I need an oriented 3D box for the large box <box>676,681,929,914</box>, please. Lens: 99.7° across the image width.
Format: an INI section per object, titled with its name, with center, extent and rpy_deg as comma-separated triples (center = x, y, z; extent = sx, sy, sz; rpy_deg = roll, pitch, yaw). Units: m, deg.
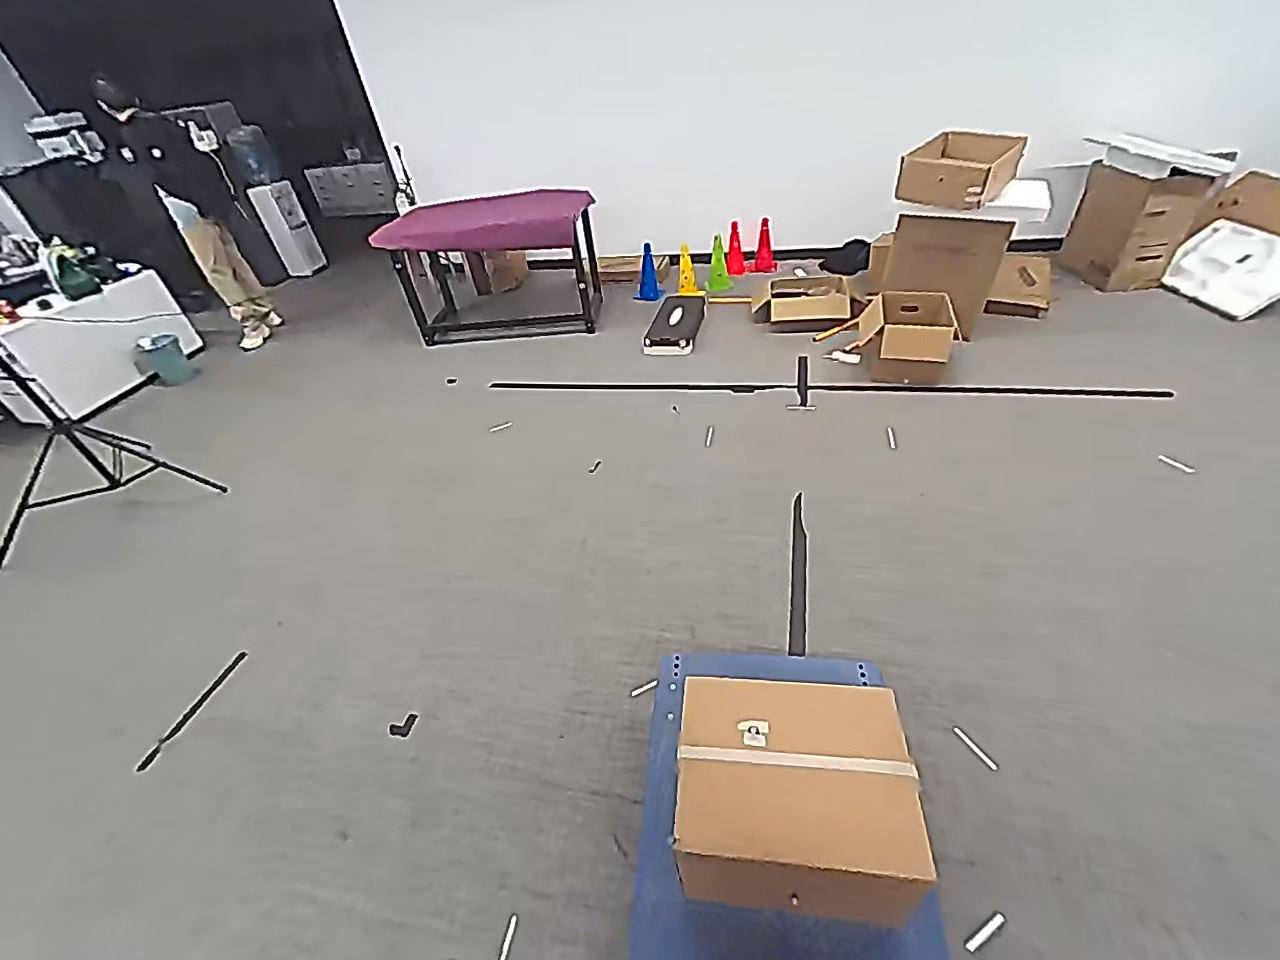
[large box]
center = 0.293, 0.624, 1.075
extent = 0.408, 0.320, 0.320
rpy_deg = -2, 39, 10
